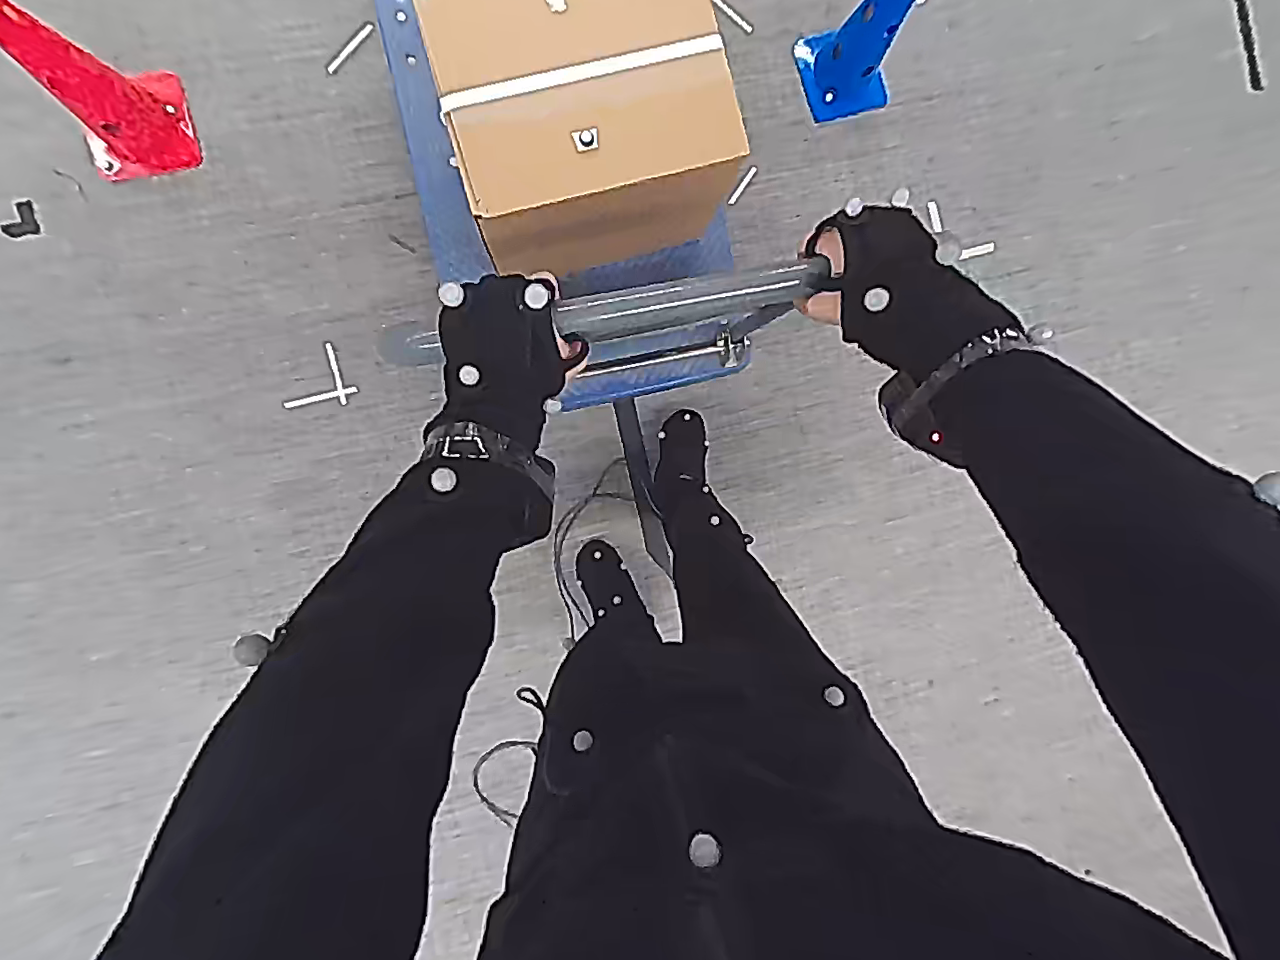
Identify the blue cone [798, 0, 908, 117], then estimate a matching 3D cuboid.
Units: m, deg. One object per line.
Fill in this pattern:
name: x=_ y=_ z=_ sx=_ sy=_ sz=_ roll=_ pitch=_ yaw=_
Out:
blue cone: x=0.503 y=-0.972 z=1.128 sx=0.193 sy=0.380 sz=0.192 roll=-18 pitch=92 yaw=-7
